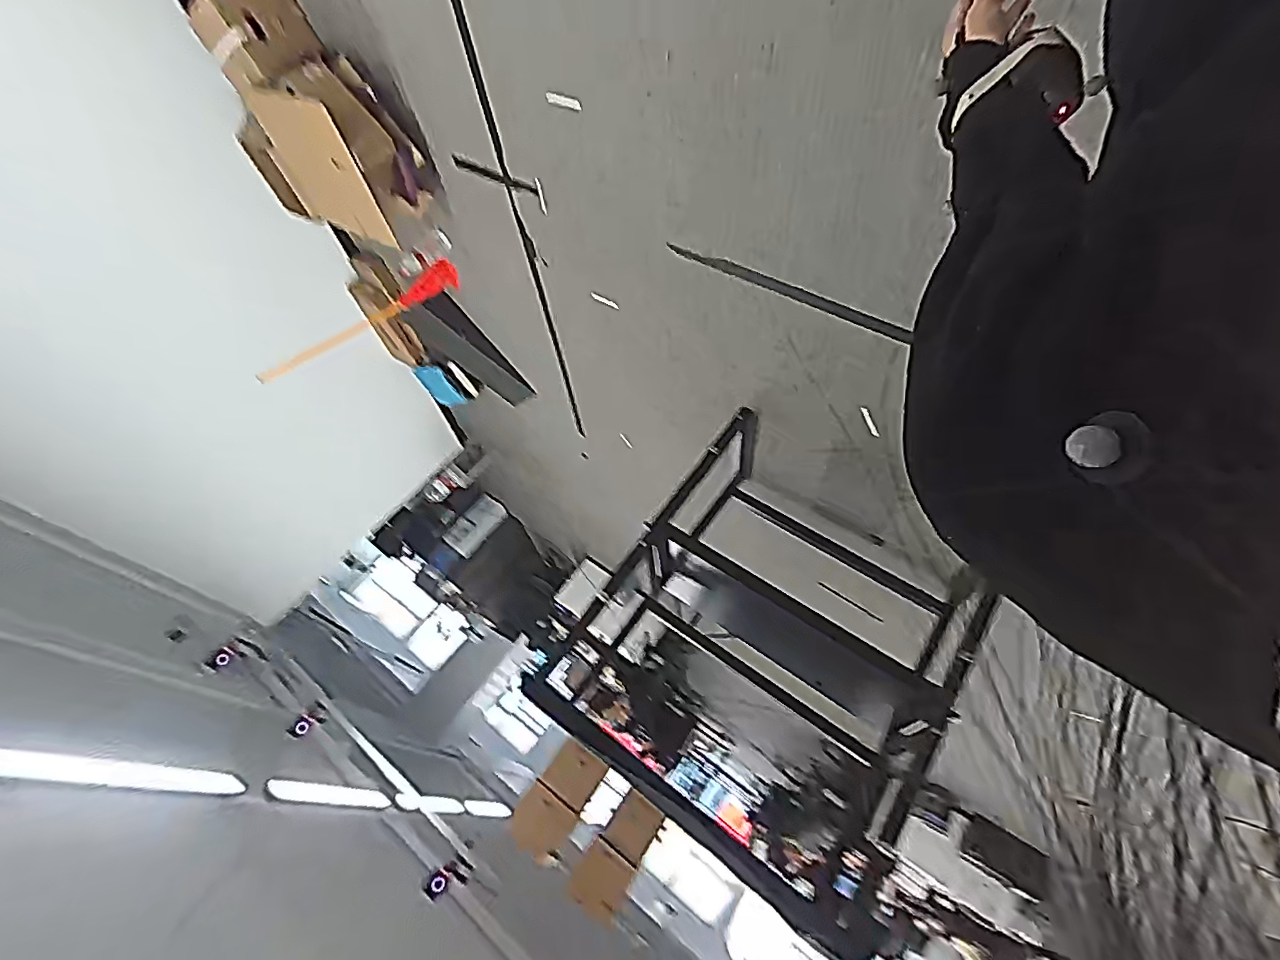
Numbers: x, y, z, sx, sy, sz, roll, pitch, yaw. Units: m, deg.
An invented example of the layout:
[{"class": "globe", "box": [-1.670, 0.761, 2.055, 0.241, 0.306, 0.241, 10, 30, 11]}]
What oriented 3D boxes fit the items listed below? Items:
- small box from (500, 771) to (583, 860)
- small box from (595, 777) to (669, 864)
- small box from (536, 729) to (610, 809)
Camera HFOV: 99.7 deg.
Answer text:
[{"class": "small box", "box": [-0.313, 1.063, 1.714, 0.179, 0.176, 0.168, 30, 156, 25]}, {"class": "small box", "box": [-0.022, 1.066, 1.706, 0.168, 0.176, 0.179, 32, 157, 19]}, {"class": "small box", "box": [-0.212, 0.951, 1.787, 0.168, 0.176, 0.179, 30, 156, 20]}]
